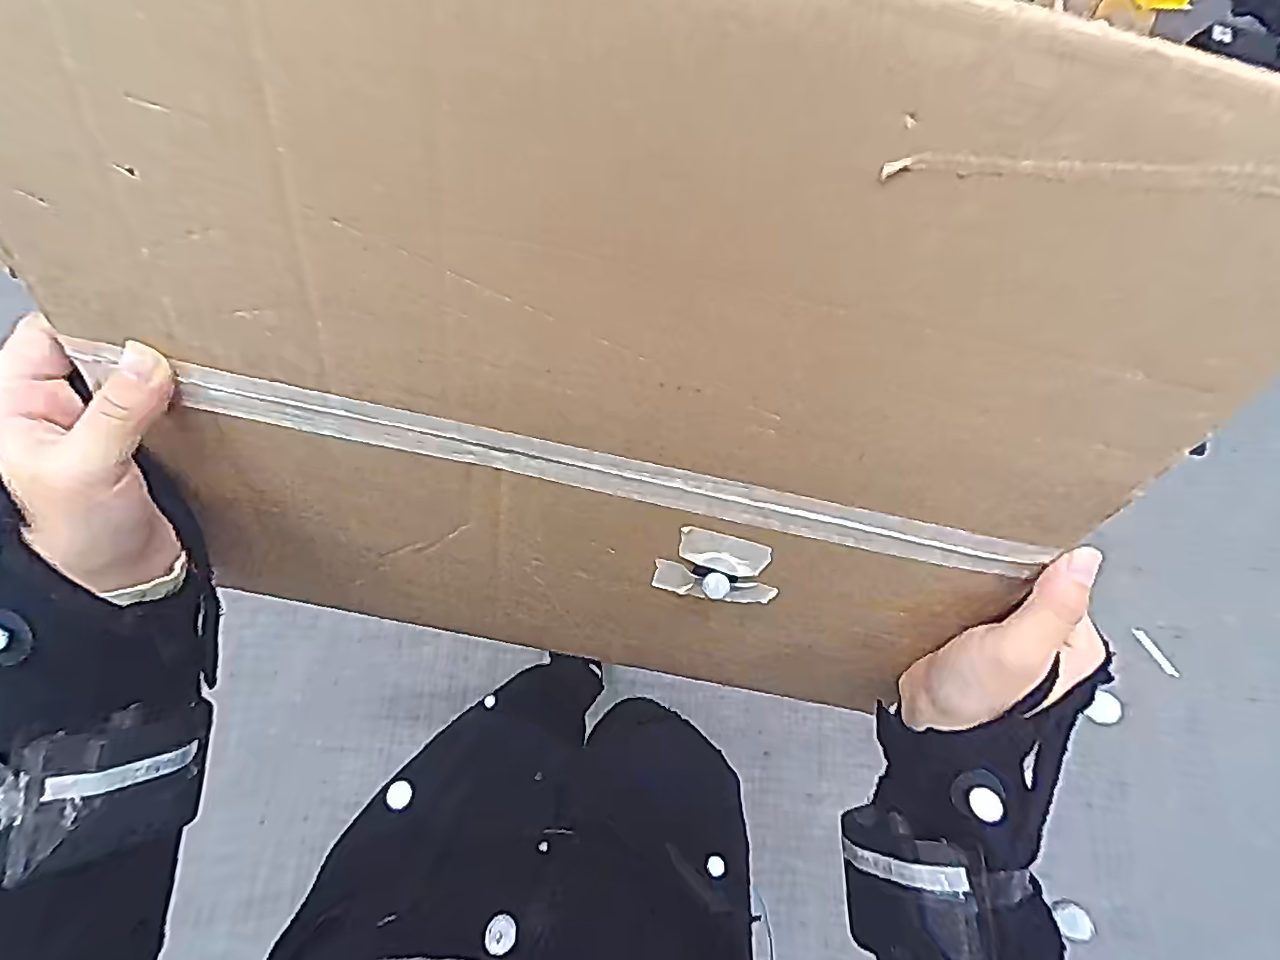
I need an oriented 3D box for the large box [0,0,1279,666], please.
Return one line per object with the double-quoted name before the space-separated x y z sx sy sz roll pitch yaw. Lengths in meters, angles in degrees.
"large box" 0.006 -0.132 0.329 0.408 0.320 0.320 12 43 -3
